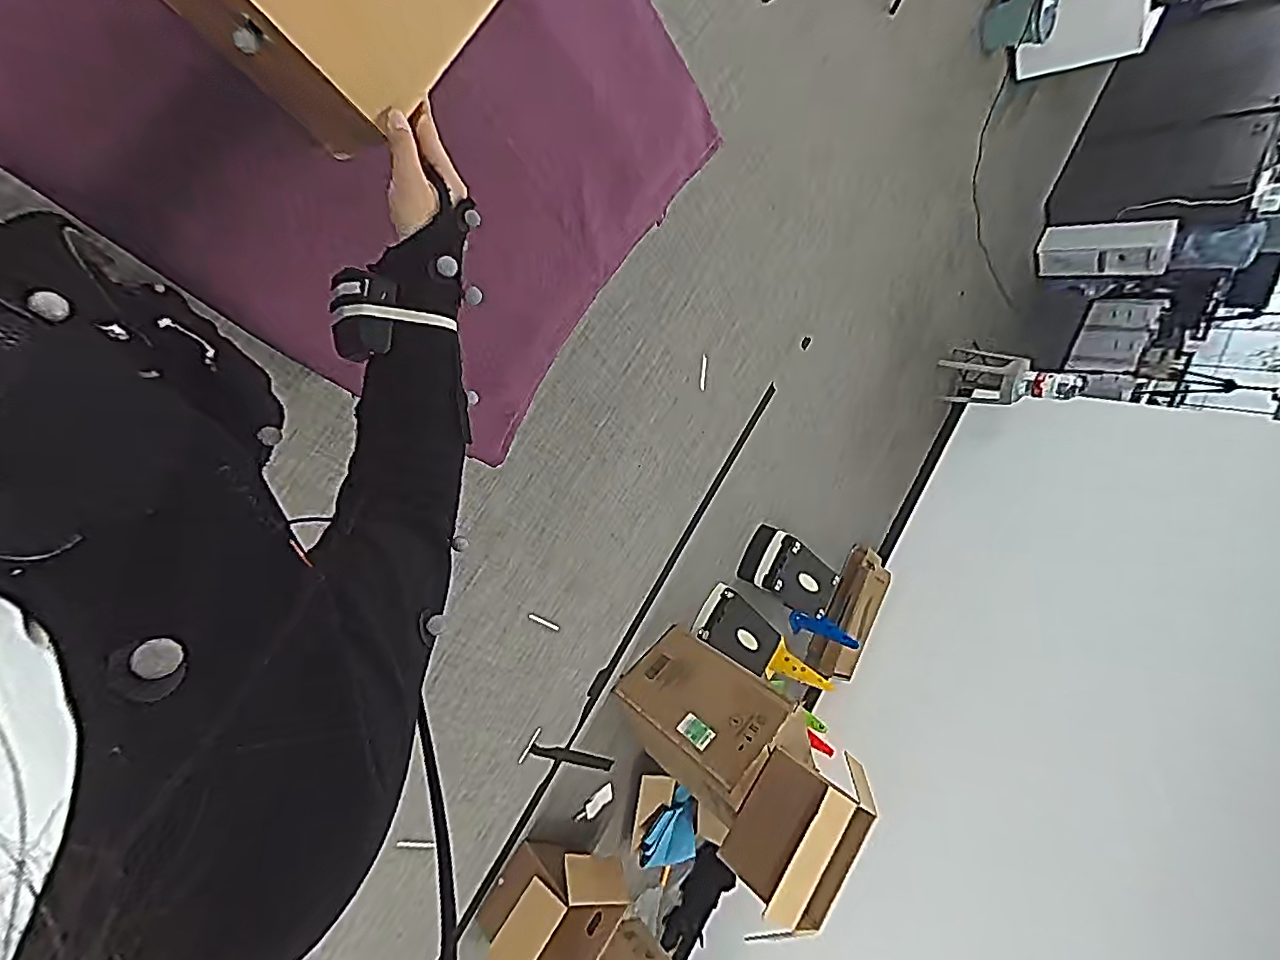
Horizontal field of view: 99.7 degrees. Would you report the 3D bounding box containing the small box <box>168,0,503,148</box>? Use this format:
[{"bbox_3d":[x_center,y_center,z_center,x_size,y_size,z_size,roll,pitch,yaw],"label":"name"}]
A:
[{"bbox_3d":[-0.248,-0.394,0.425,0.179,0.176,0.168,39,82,-44],"label":"small box"}]
